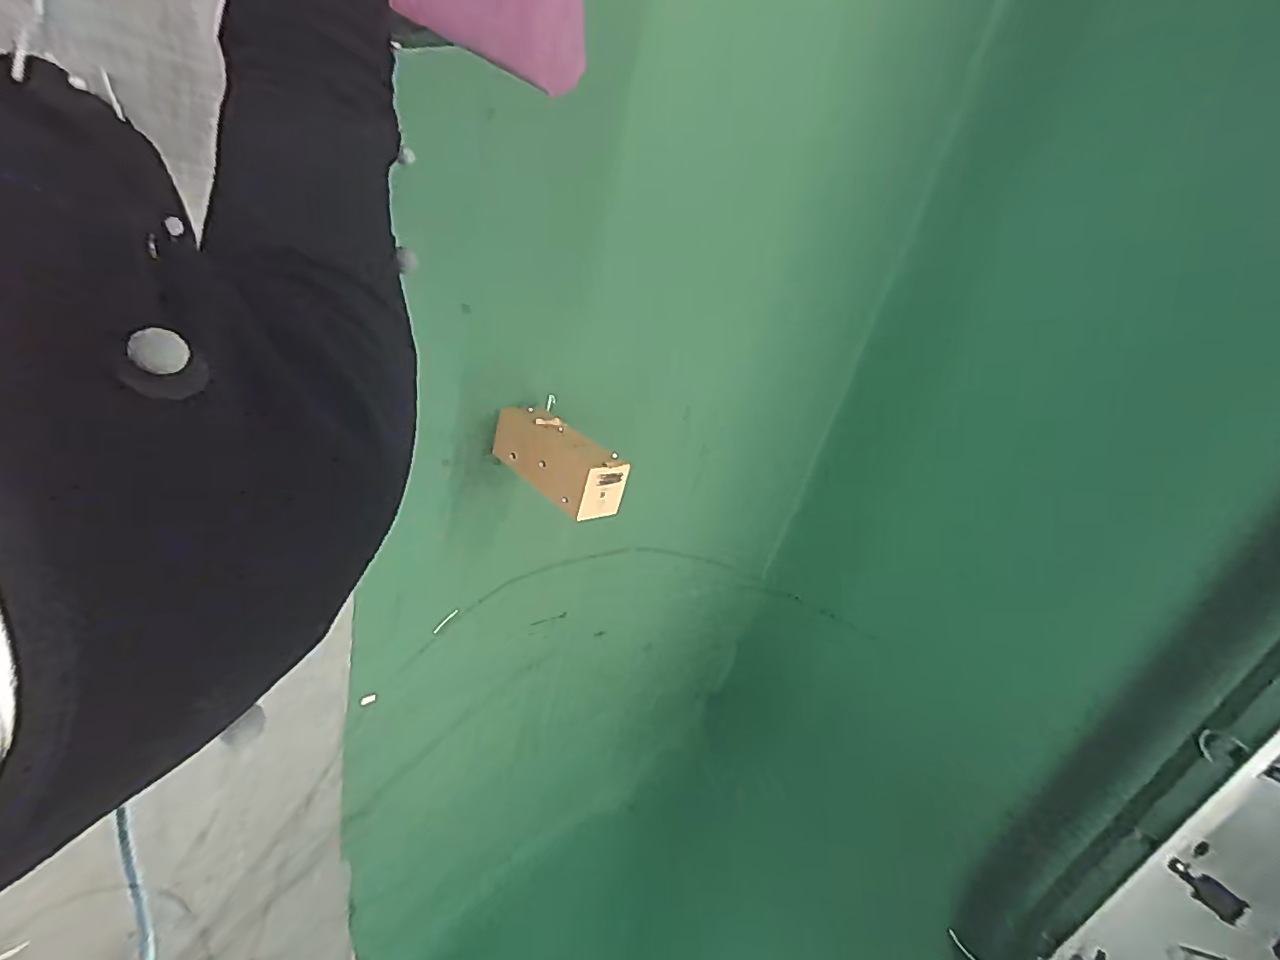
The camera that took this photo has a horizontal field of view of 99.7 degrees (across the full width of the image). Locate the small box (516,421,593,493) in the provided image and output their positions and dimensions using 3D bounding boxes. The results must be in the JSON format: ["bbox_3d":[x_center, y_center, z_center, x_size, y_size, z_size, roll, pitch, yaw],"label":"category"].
[{"bbox_3d":[-0.282,-0.078,1.760,0.168,0.176,0.179,-8,122,-47],"label":"small box"}]

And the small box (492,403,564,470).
[{"bbox_3d":[-0.389,-0.152,1.858,0.168,0.176,0.179,-9,123,-47],"label":"small box"}]
